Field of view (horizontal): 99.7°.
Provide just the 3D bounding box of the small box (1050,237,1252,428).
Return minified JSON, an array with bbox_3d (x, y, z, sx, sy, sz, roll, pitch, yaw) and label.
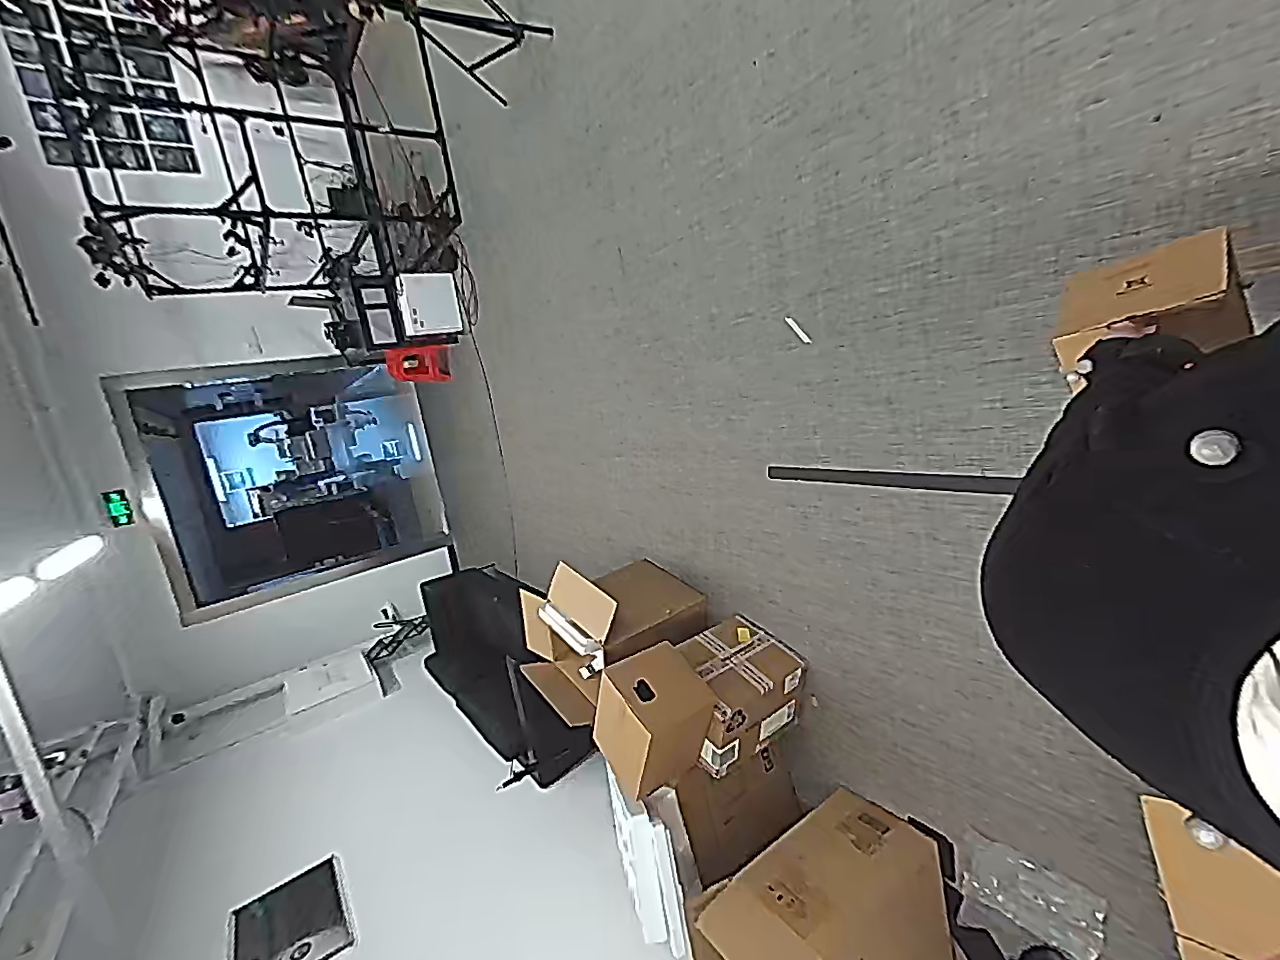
[{"bbox_3d":[0.696,-0.186,0.736,0.168,0.179,0.176,-10,122,52],"label":"small box"}]
